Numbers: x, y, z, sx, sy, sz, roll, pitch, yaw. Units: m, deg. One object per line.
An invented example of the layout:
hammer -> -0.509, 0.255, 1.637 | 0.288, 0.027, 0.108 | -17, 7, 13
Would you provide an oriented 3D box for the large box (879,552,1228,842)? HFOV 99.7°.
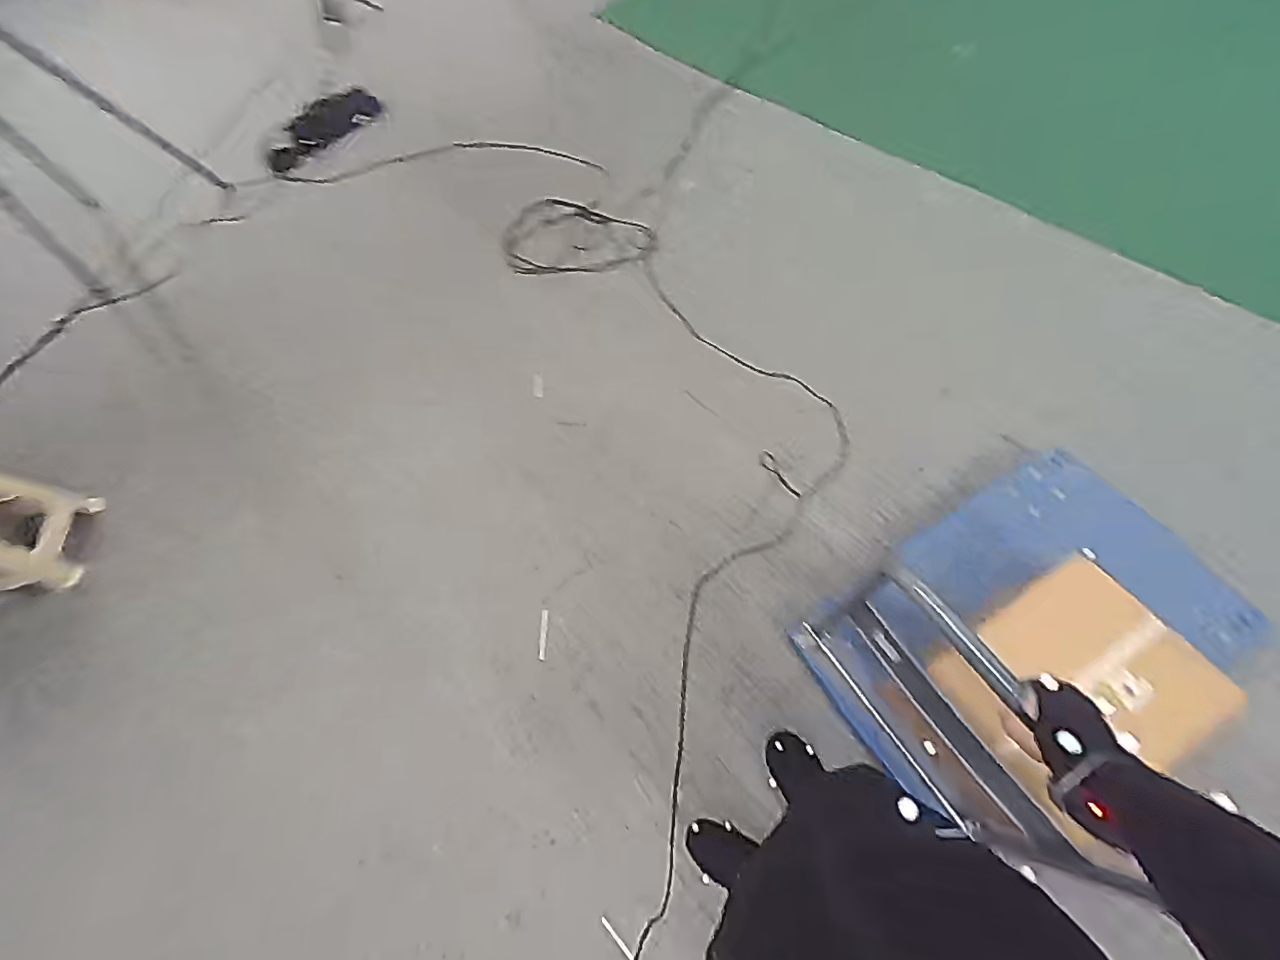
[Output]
large box -> 0.765, 0.419, 1.075 | 0.408, 0.320, 0.320 | -35, 65, -7
